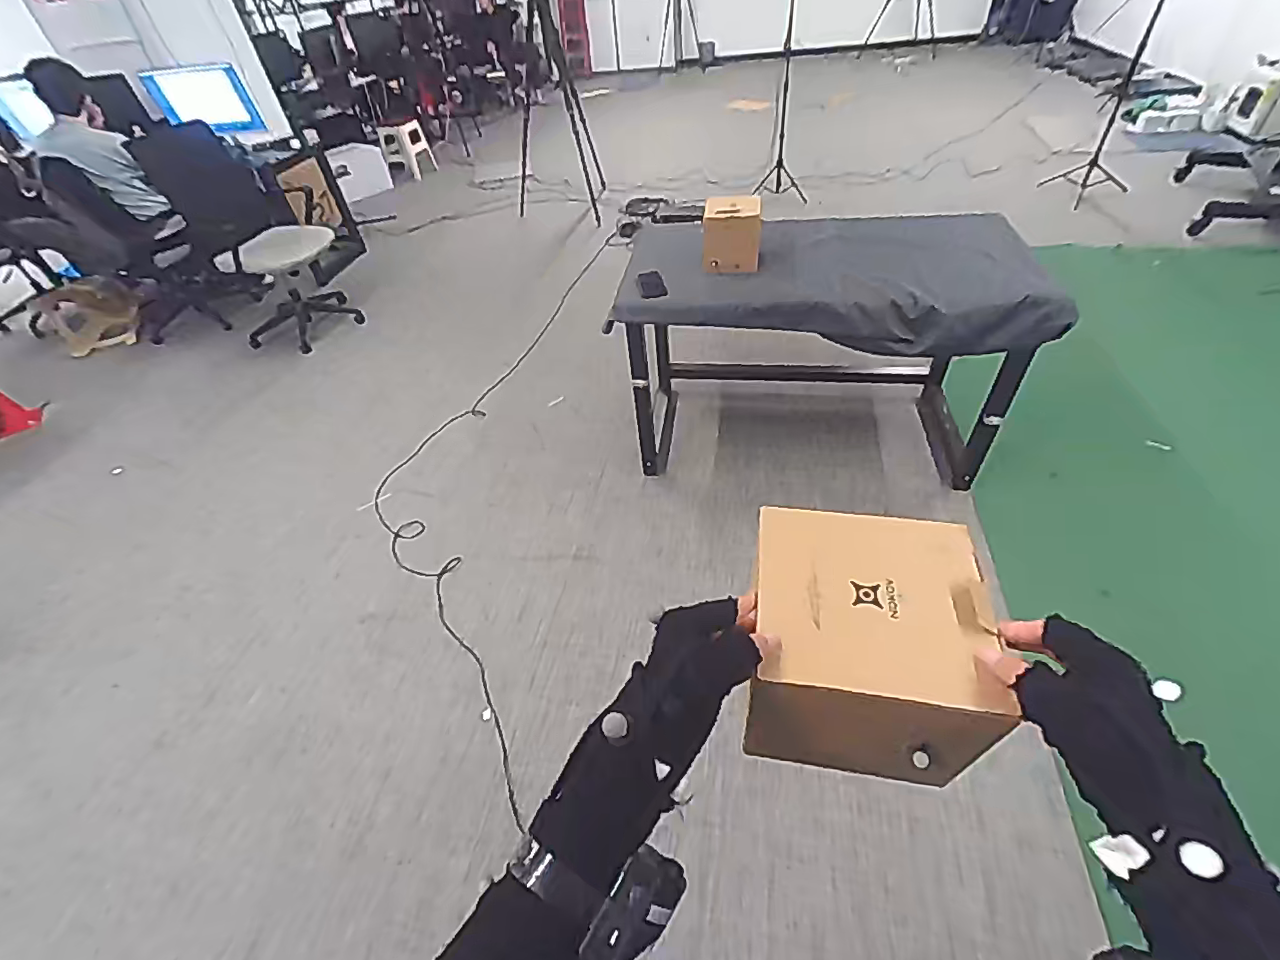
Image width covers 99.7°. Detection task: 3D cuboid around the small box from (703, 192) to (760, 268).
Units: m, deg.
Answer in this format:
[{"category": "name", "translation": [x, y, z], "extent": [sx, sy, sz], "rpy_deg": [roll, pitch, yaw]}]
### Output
[{"category": "small box", "translation": [0.284, -0.773, 1.679], "extent": [0.168, 0.176, 0.179], "rpy_deg": [3, 45, 9]}]
